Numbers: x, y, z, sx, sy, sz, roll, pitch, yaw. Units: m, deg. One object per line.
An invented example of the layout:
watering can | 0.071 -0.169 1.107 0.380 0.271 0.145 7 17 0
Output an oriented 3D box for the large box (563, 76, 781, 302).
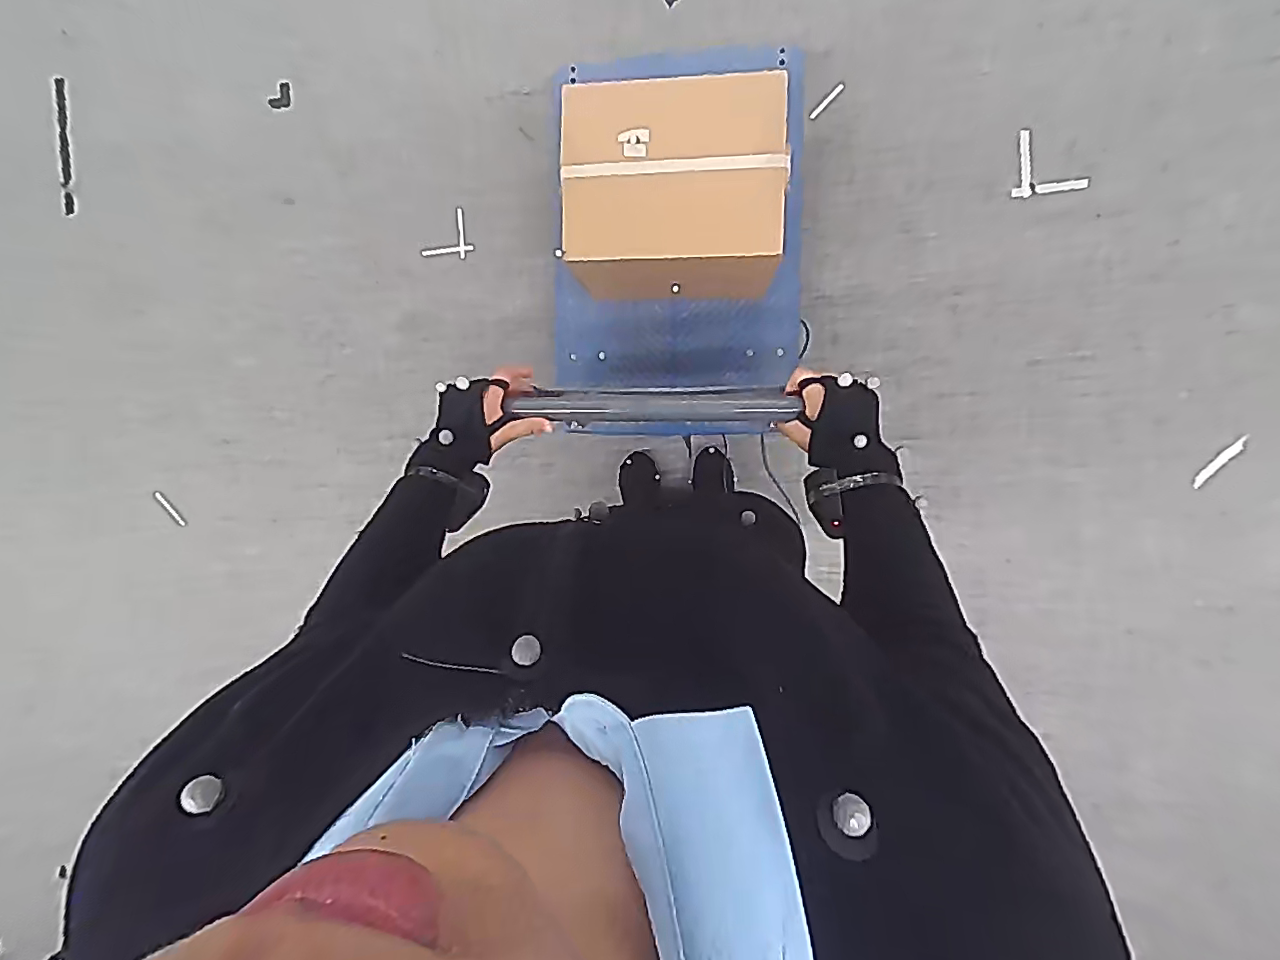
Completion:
large box | 0.076 -0.570 1.134 0.408 0.320 0.320 1 93 8
